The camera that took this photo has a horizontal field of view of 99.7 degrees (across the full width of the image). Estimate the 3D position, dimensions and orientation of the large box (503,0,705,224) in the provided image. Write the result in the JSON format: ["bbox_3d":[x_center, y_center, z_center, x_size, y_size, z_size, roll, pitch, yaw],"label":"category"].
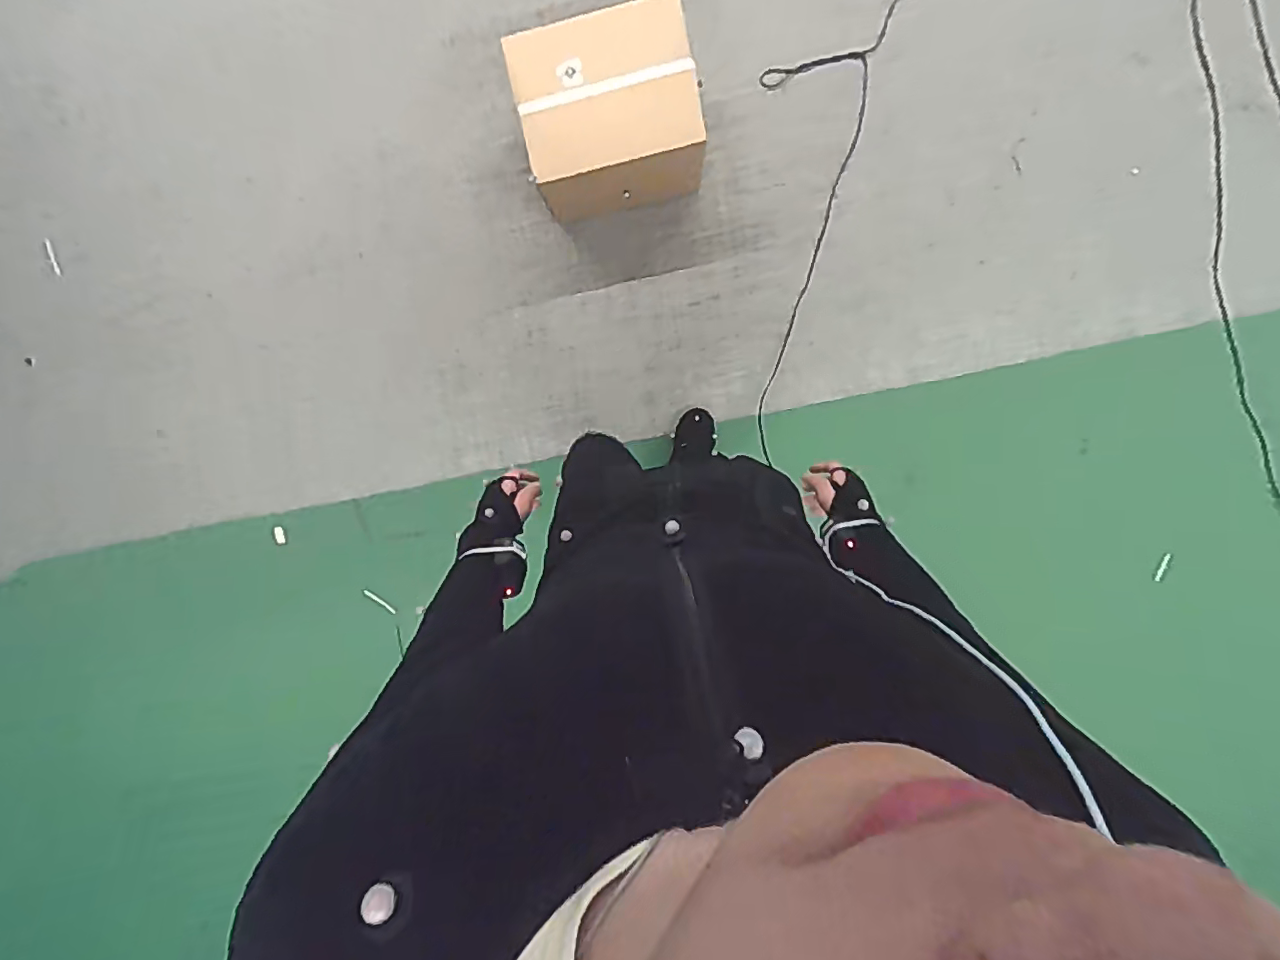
[{"bbox_3d":[-0.071,-0.893,1.358,0.408,0.320,0.320,-13,97,5],"label":"large box"}]
